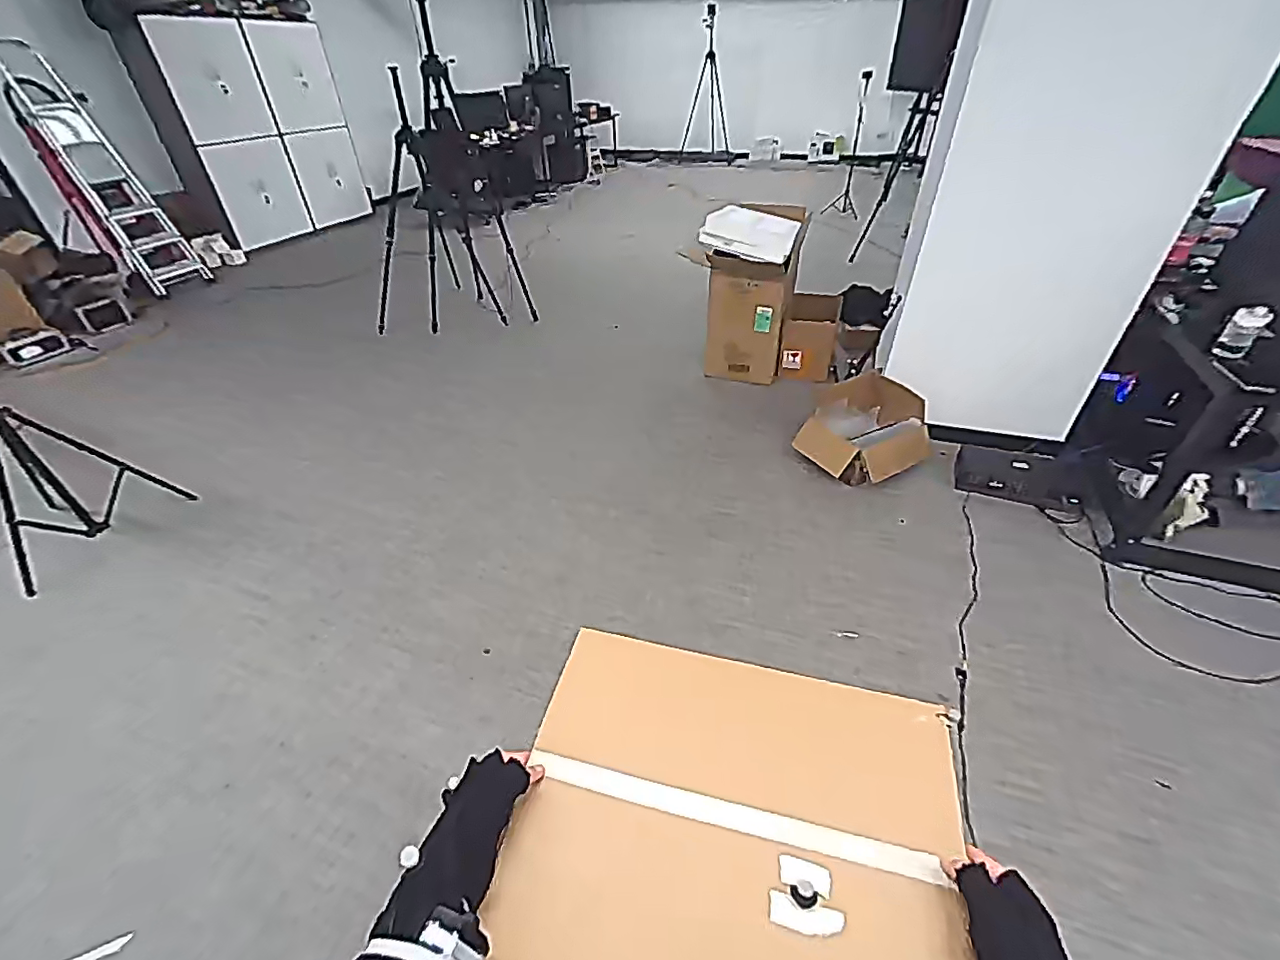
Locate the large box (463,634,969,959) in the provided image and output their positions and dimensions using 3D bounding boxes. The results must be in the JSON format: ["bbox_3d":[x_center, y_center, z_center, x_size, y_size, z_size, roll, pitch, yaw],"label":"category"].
[{"bbox_3d":[0.084,0.421,0.604,0.408,0.320,0.320,9,44,12],"label":"large box"}]
